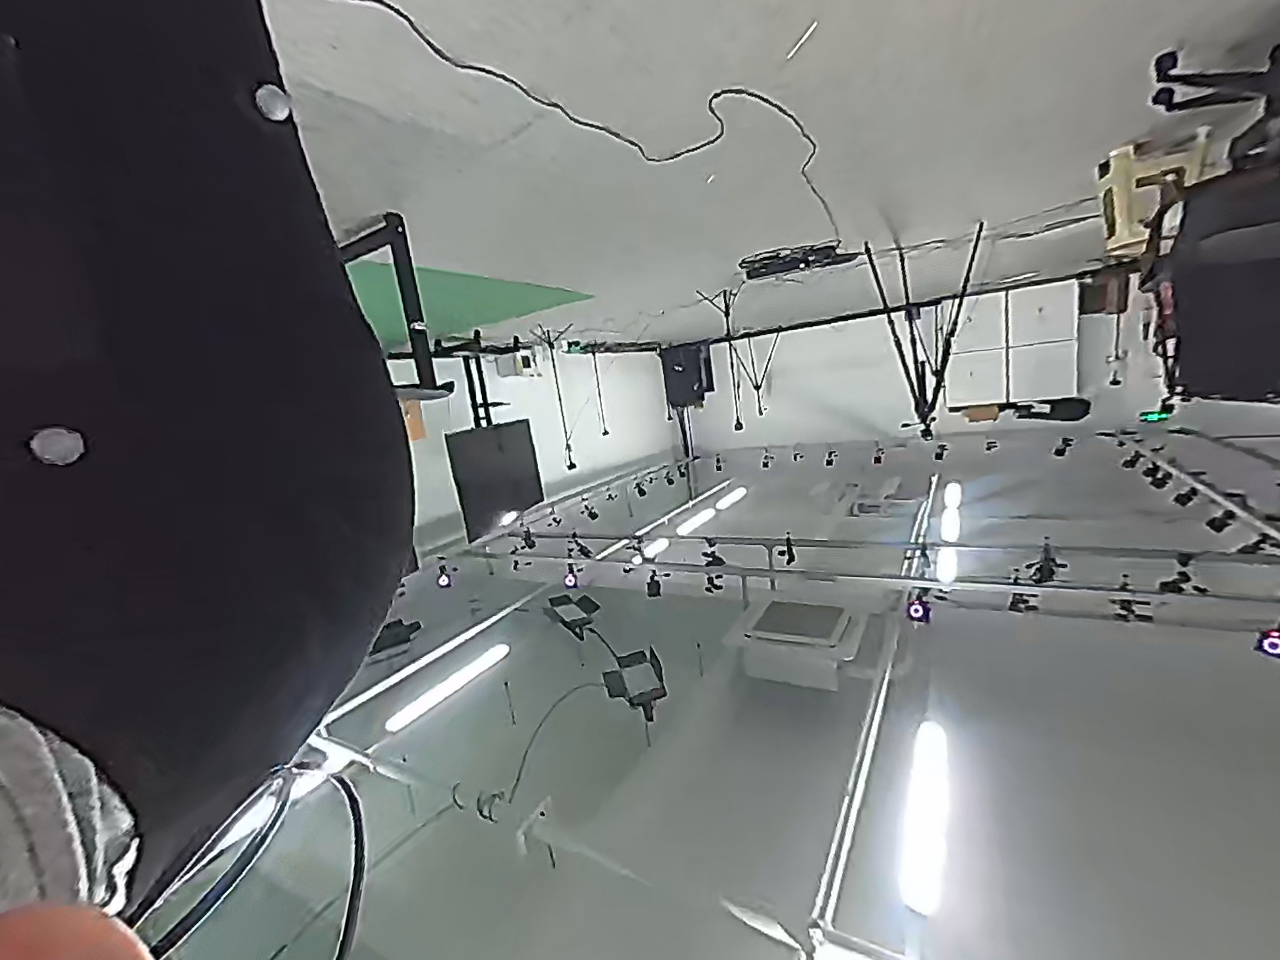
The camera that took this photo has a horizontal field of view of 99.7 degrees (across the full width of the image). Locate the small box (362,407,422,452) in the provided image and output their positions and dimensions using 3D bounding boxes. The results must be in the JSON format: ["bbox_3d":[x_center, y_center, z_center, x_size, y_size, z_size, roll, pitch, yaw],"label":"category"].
[{"bbox_3d":[-1.076,-0.221,2.337,0.179,0.176,0.168,-2,-169,32],"label":"small box"}]
